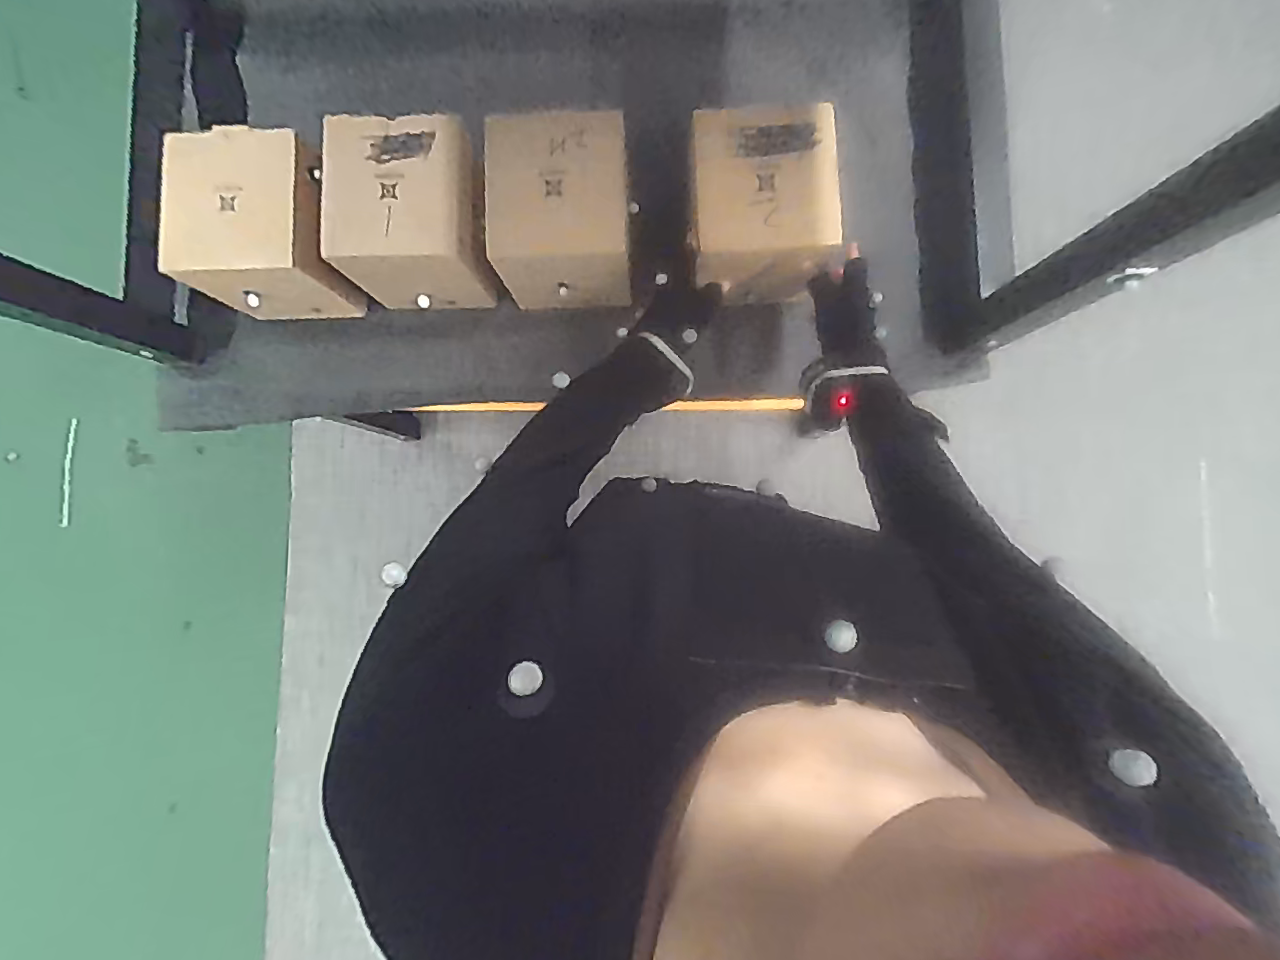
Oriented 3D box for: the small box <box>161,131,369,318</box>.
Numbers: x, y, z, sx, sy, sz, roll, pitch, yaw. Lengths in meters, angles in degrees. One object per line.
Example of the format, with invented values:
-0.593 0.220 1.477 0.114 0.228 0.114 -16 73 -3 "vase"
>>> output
-0.486 -0.326 0.725 0.168 0.176 0.179 -1 85 1 "small box"
